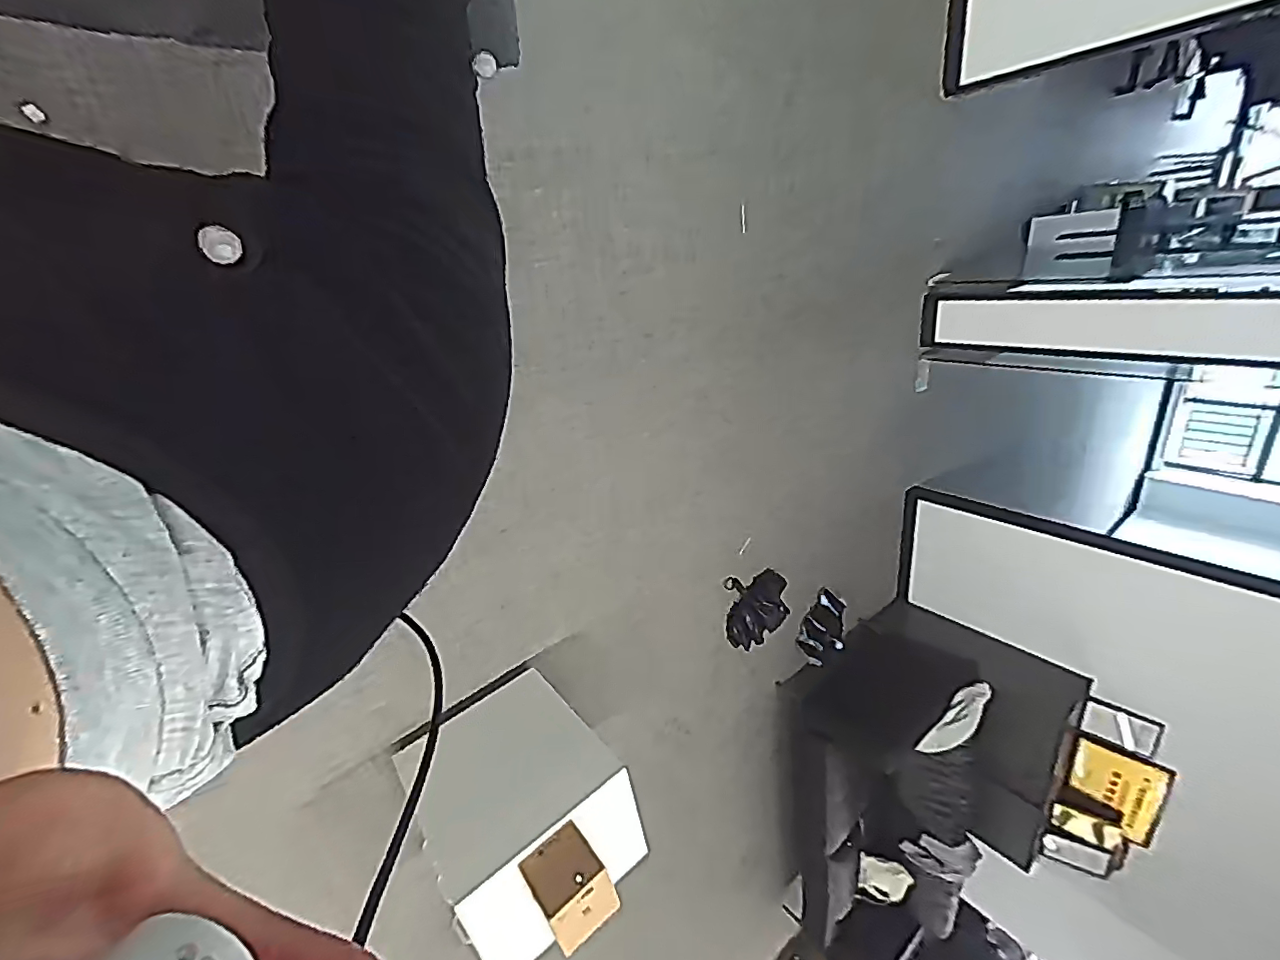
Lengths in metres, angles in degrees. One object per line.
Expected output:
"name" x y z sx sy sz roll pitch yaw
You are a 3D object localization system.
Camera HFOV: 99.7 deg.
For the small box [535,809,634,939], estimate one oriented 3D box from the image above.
"small box" -0.141 0.990 1.373 0.168 0.176 0.179 -30 123 -29
